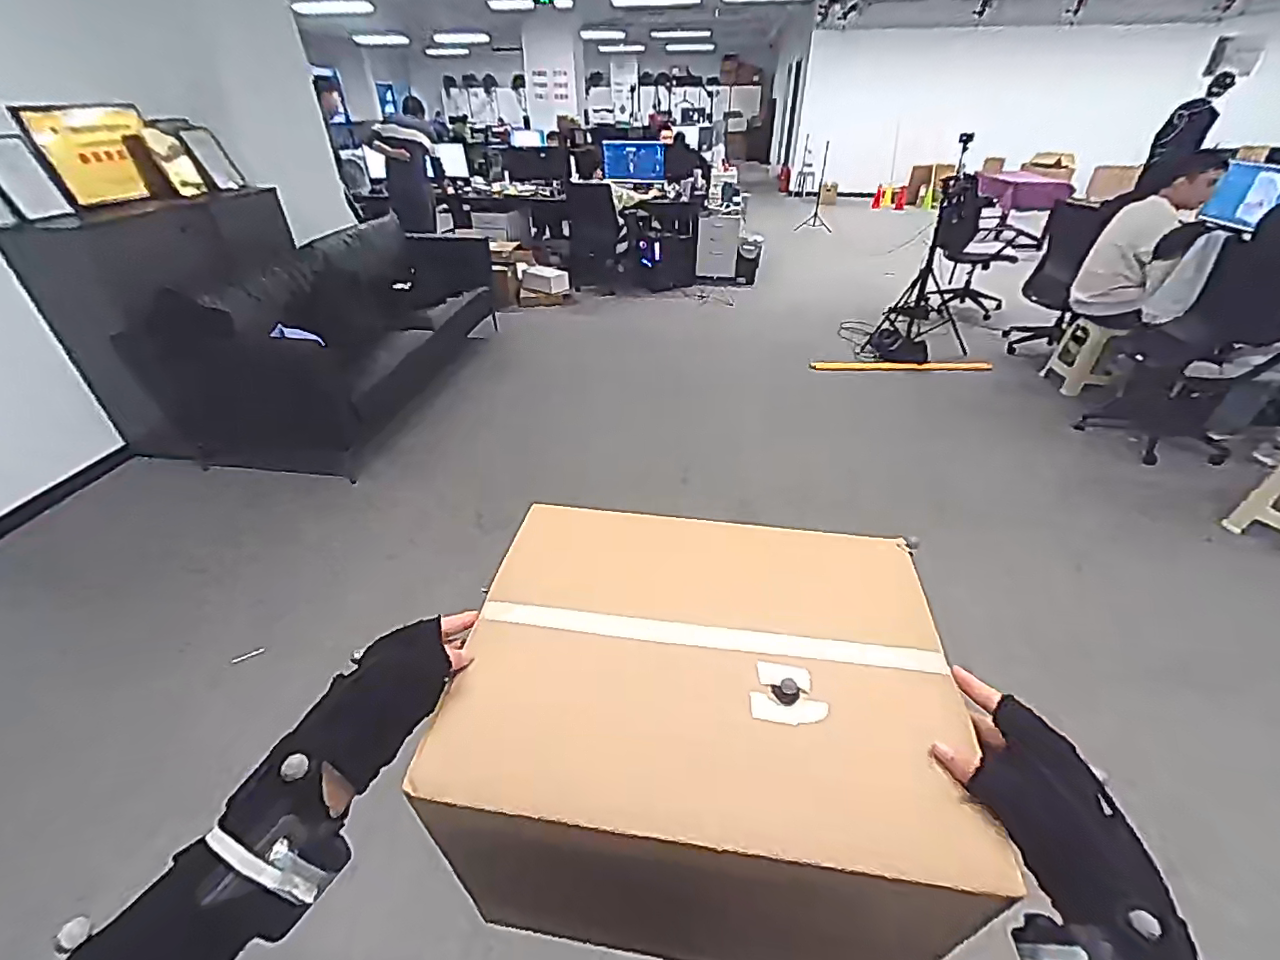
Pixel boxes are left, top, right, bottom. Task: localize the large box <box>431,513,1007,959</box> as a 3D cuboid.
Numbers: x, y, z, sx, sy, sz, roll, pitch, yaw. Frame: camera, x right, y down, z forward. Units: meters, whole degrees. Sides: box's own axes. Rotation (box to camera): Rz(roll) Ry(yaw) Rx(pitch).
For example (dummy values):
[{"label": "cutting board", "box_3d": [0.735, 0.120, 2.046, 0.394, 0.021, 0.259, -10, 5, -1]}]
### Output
[{"label": "large box", "box_3d": [0.060, 0.263, 0.574, 0.408, 0.320, 0.320, 6, 38, 6]}]
